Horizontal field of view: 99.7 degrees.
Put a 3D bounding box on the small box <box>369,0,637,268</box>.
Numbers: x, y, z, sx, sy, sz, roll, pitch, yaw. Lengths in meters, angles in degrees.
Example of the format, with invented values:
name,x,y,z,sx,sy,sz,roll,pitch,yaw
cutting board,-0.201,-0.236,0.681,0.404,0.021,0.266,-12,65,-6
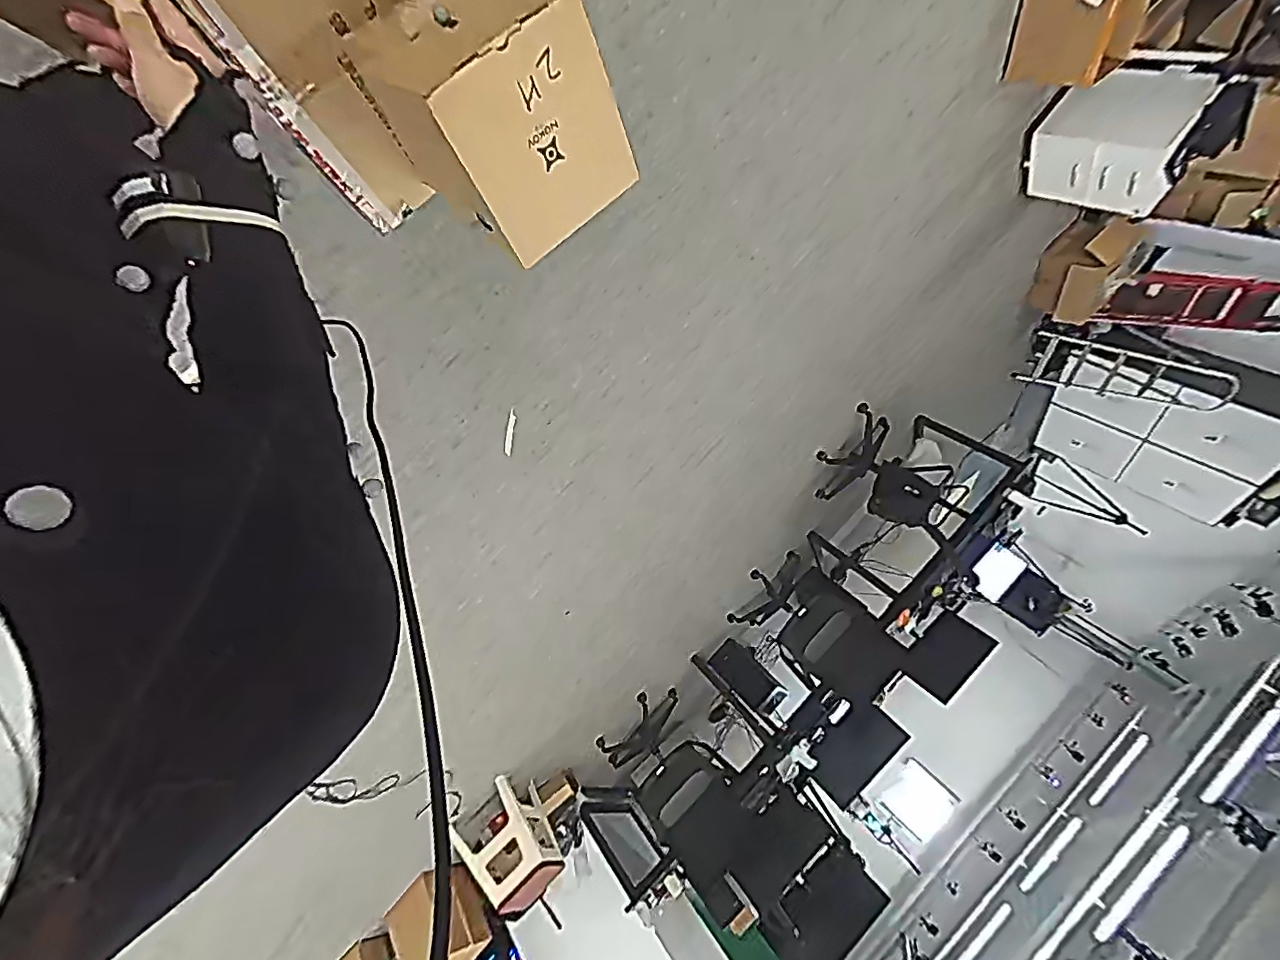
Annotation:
name,x,y,z,sx,sy,sz,roll,pitch,yaw
small box,-0.135,-0.362,0.555,0.168,0.176,0.179,-42,145,-7

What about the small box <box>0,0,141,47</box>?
name,x,y,z,sx,sy,sz,roll,pitch,yaw
small box,-0.428,-0.422,0.341,0.179,0.176,0.168,16,92,-53

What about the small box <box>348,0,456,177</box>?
name,x,y,z,sx,sy,sz,roll,pitch,yaw
small box,-0.214,-0.469,0.656,0.168,0.176,0.179,-40,145,-10
